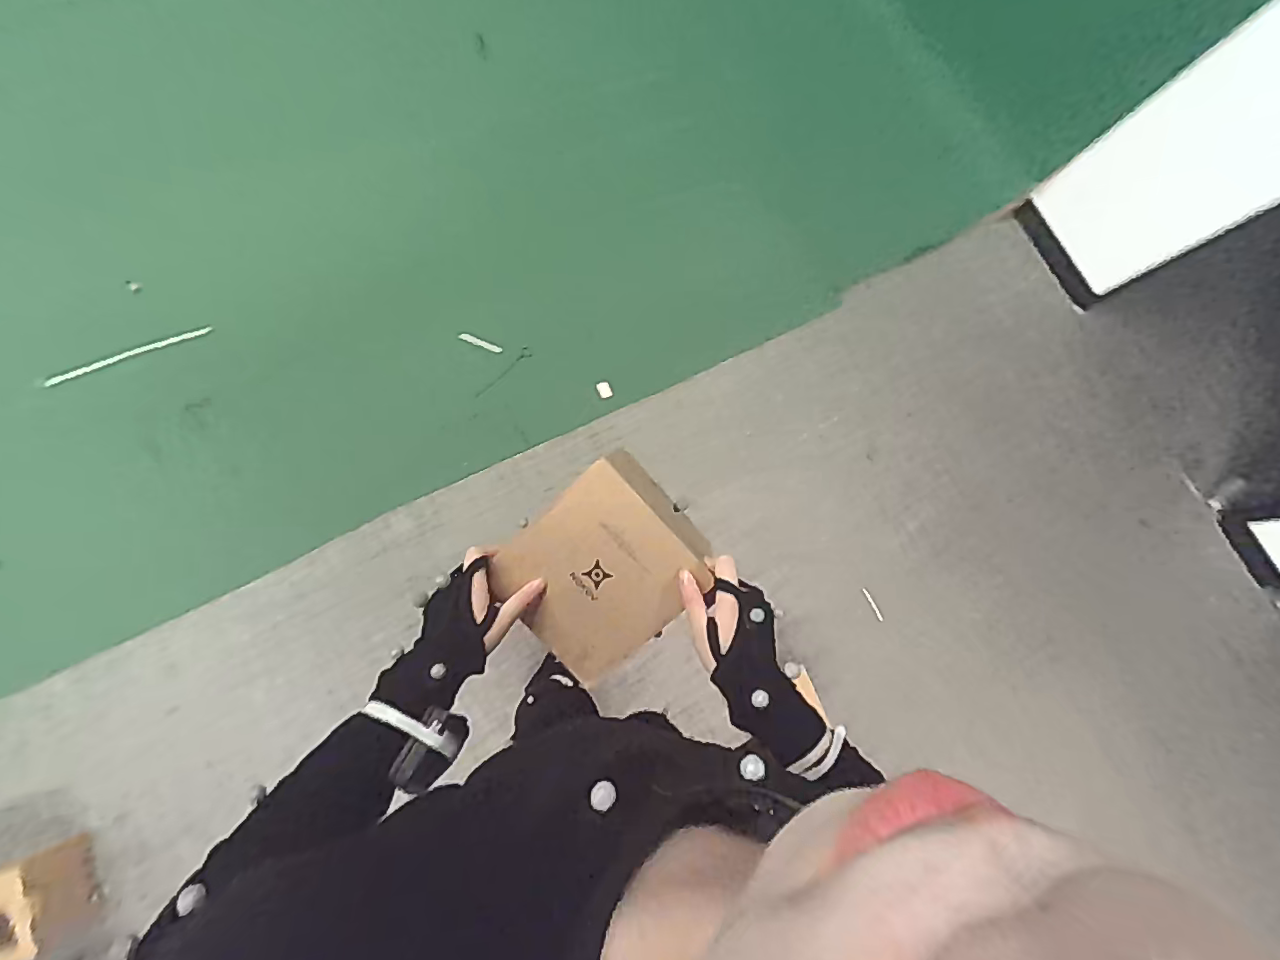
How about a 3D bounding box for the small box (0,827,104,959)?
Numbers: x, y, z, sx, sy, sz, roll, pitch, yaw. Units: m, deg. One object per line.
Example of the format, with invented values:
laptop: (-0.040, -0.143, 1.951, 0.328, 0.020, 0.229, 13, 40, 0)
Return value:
small box: (-1.202, 0.819, 1.048, 0.179, 0.176, 0.168, -20, 83, -11)
